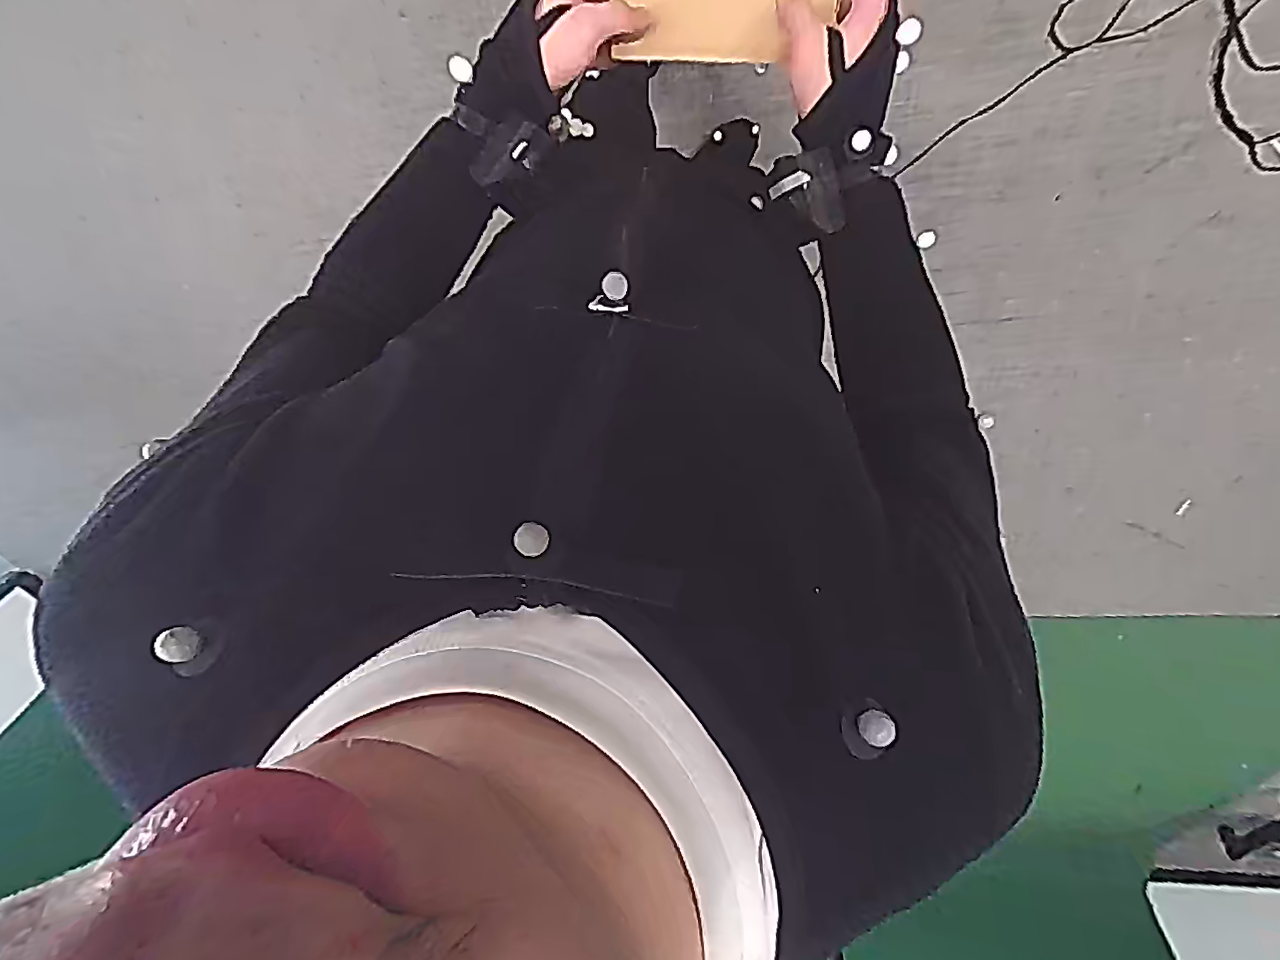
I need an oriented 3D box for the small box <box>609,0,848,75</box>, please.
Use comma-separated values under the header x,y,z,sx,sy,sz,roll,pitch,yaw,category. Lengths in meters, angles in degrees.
x,y,z,sx,sy,sz,roll,pitch,yaw,category
0.071,-0.437,0.426,0.179,0.176,0.168,5,132,1,small box
